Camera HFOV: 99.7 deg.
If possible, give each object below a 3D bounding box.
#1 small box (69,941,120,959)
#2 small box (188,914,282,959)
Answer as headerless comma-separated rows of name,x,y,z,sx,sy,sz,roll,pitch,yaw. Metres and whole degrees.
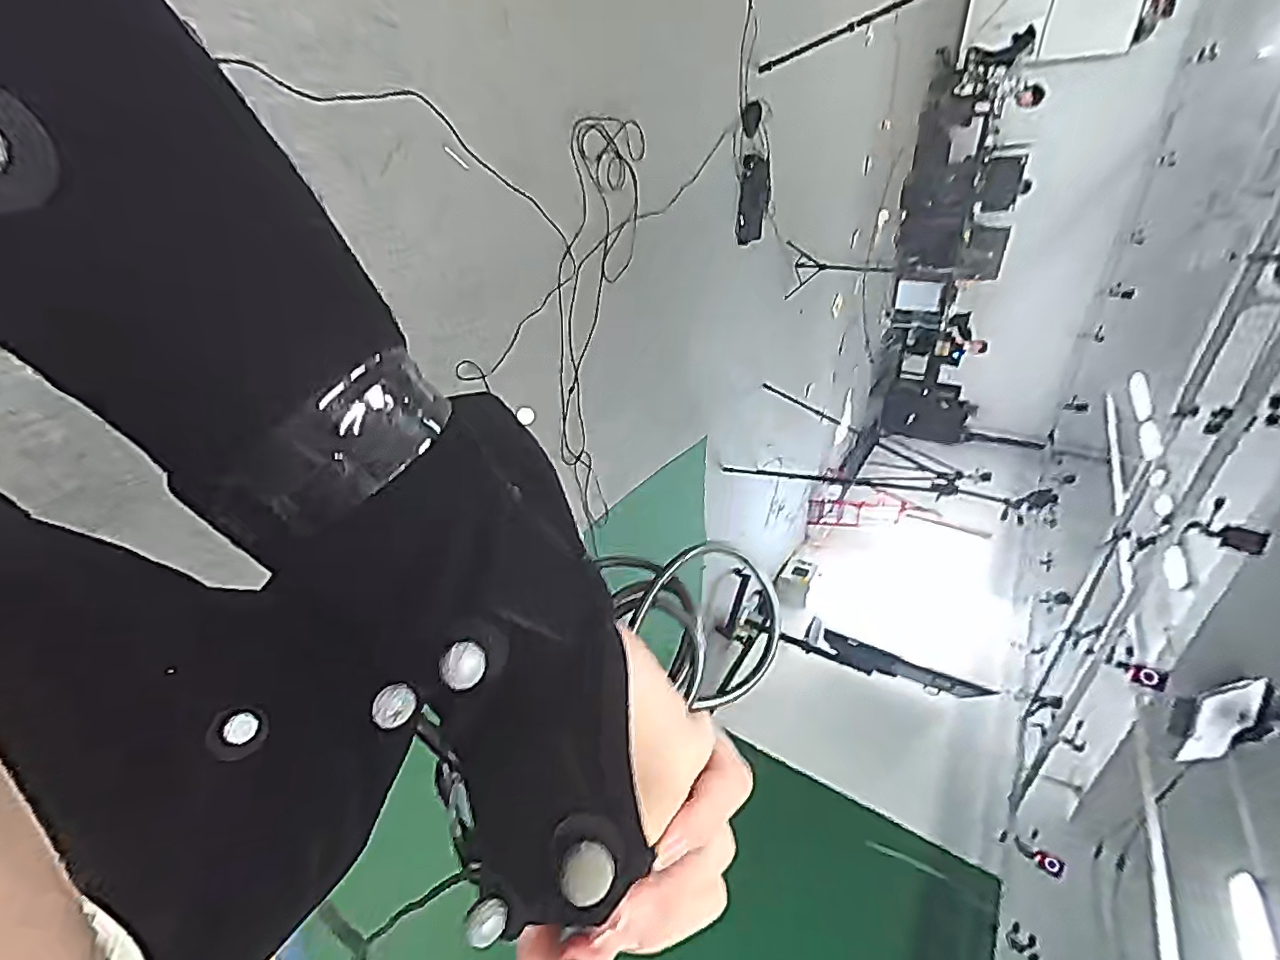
small box,-1.220,1.171,1.175,0.168,0.176,0.179,-25,125,-52
small box,-1.092,1.335,1.464,0.168,0.176,0.179,-30,130,-48
